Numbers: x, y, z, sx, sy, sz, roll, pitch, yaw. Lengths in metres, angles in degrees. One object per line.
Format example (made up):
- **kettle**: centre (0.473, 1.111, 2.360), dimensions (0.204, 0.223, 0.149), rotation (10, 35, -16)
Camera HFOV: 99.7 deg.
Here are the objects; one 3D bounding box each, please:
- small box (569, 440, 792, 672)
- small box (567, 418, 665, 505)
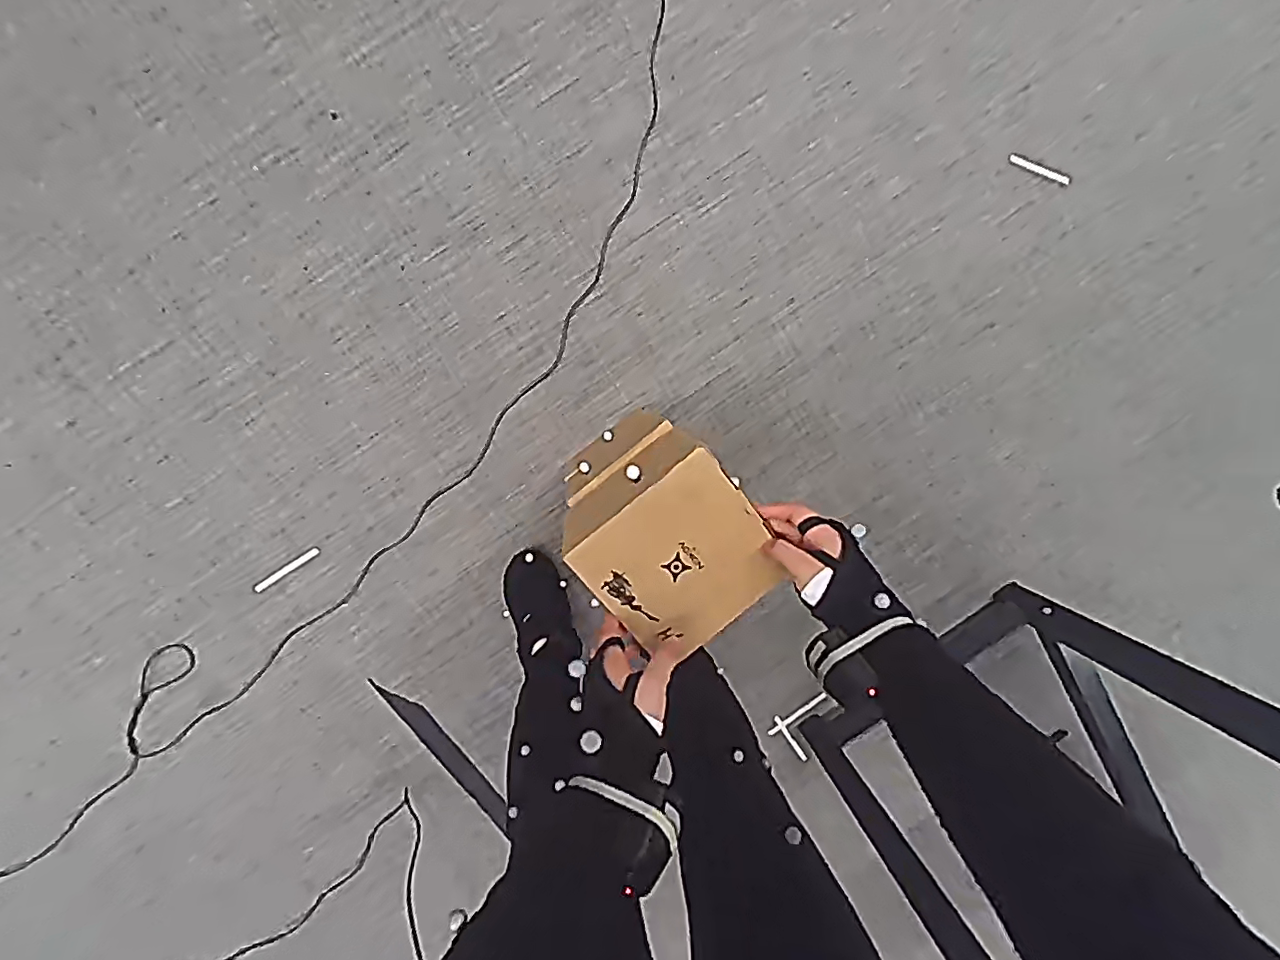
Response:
- **small box**: centre (0.031, 0.070, 0.616), dimensions (0.179, 0.176, 0.168), rotation (-39, 102, 0)
- **small box**: centre (-0.016, 0.002, 0.970), dimensions (0.179, 0.176, 0.168), rotation (-37, 102, 1)
